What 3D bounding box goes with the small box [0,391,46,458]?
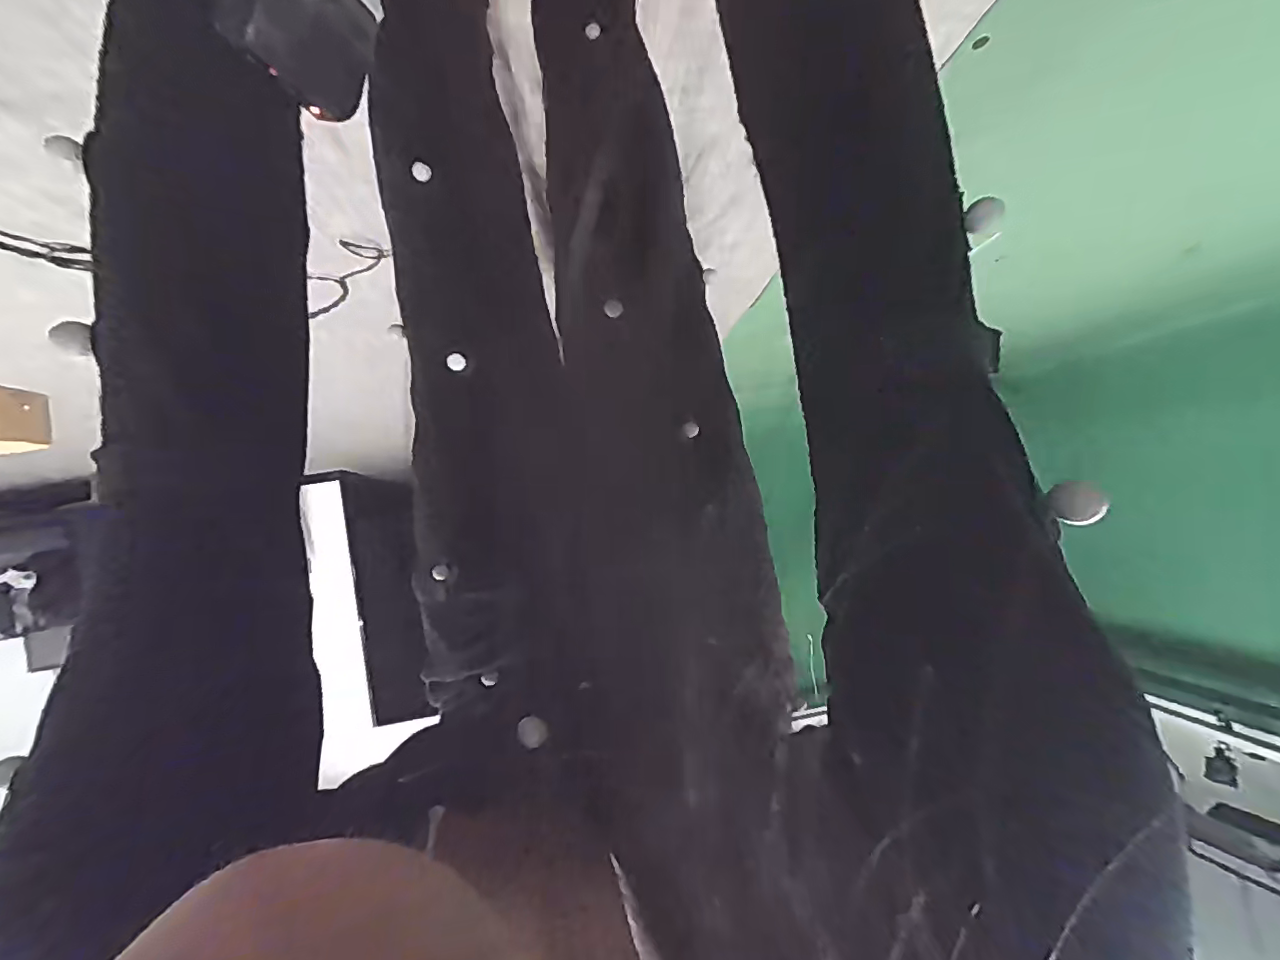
[{"bbox_3d":[-1.939,-0.163,1.602,0.179,0.176,0.168,-9,178,-5],"label":"small box"}]
